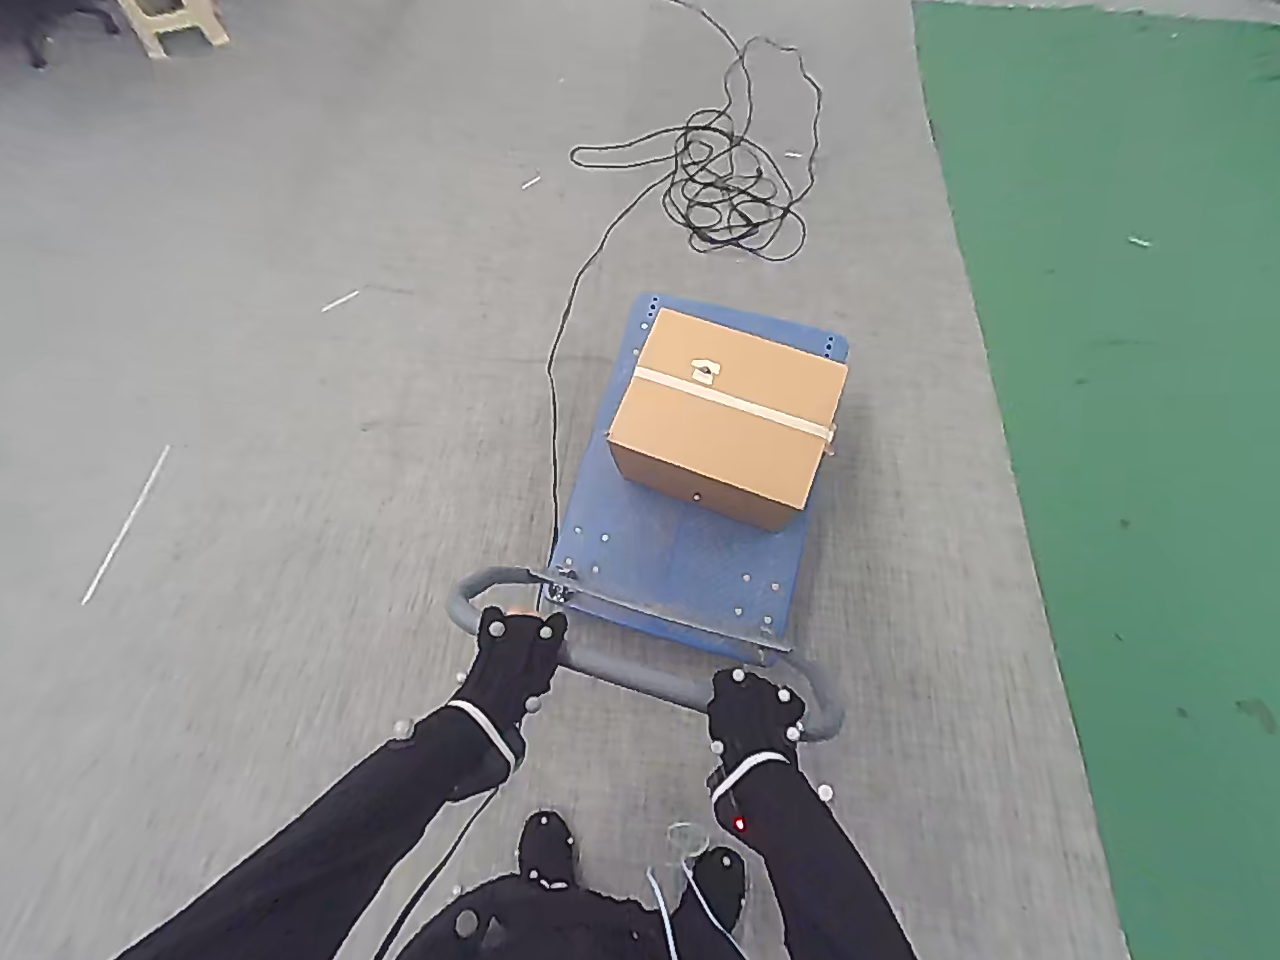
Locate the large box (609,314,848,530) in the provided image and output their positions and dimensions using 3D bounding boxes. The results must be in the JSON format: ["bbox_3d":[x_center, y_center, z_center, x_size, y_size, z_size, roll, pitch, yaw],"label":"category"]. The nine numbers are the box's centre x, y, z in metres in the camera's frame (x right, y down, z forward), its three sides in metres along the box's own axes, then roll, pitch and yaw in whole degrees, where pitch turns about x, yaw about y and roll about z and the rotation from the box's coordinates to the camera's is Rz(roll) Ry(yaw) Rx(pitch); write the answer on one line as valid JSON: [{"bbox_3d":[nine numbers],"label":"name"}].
[{"bbox_3d":[0.190,-0.111,1.214,0.408,0.320,0.320,21,79,10],"label":"large box"}]
